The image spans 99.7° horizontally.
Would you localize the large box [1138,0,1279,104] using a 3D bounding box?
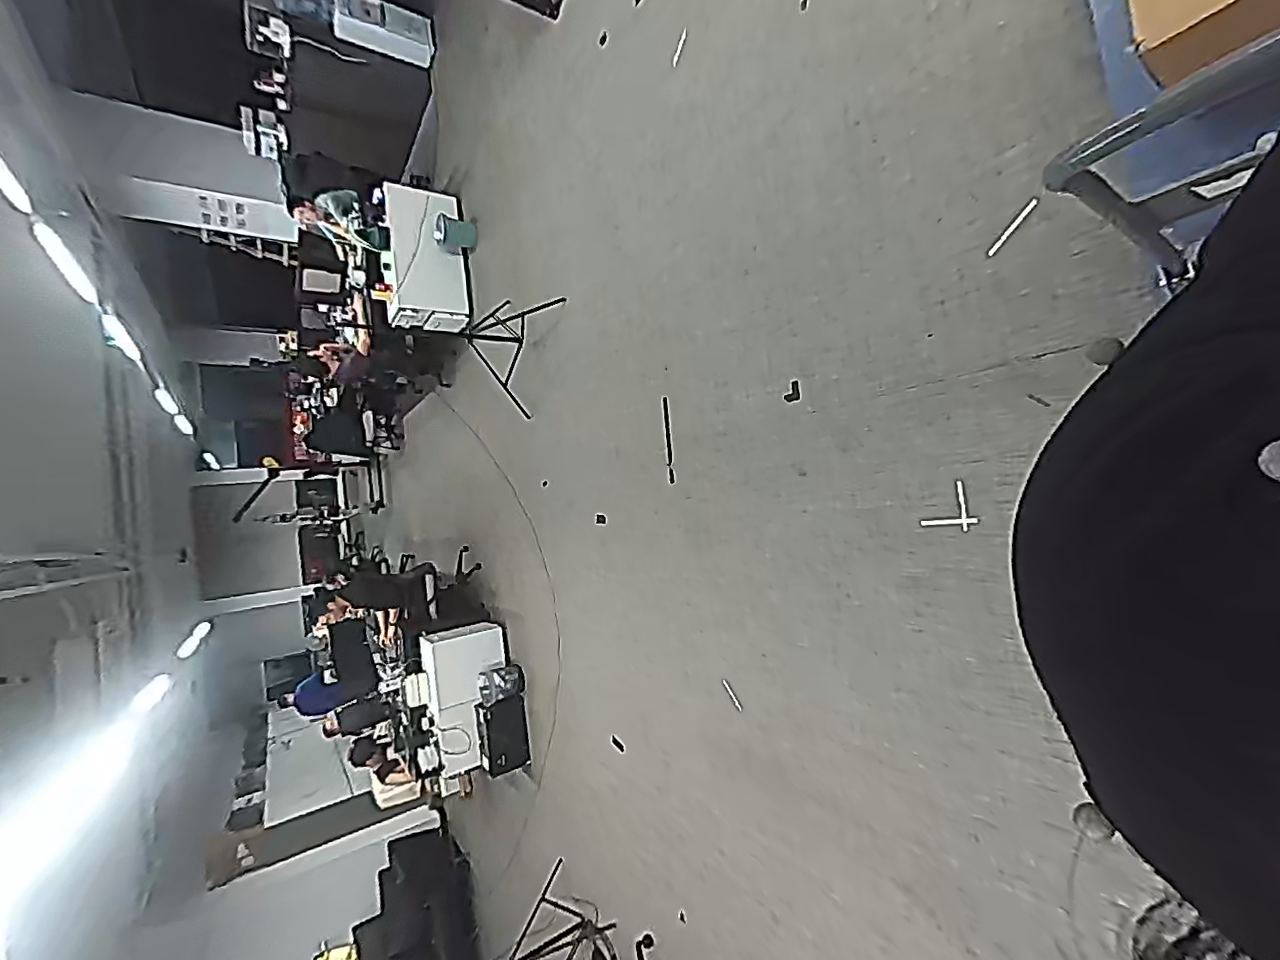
[{"bbox_3d":[0.934,-0.800,0.692,0.408,0.320,0.320,-12,84,57],"label":"large box"}]
